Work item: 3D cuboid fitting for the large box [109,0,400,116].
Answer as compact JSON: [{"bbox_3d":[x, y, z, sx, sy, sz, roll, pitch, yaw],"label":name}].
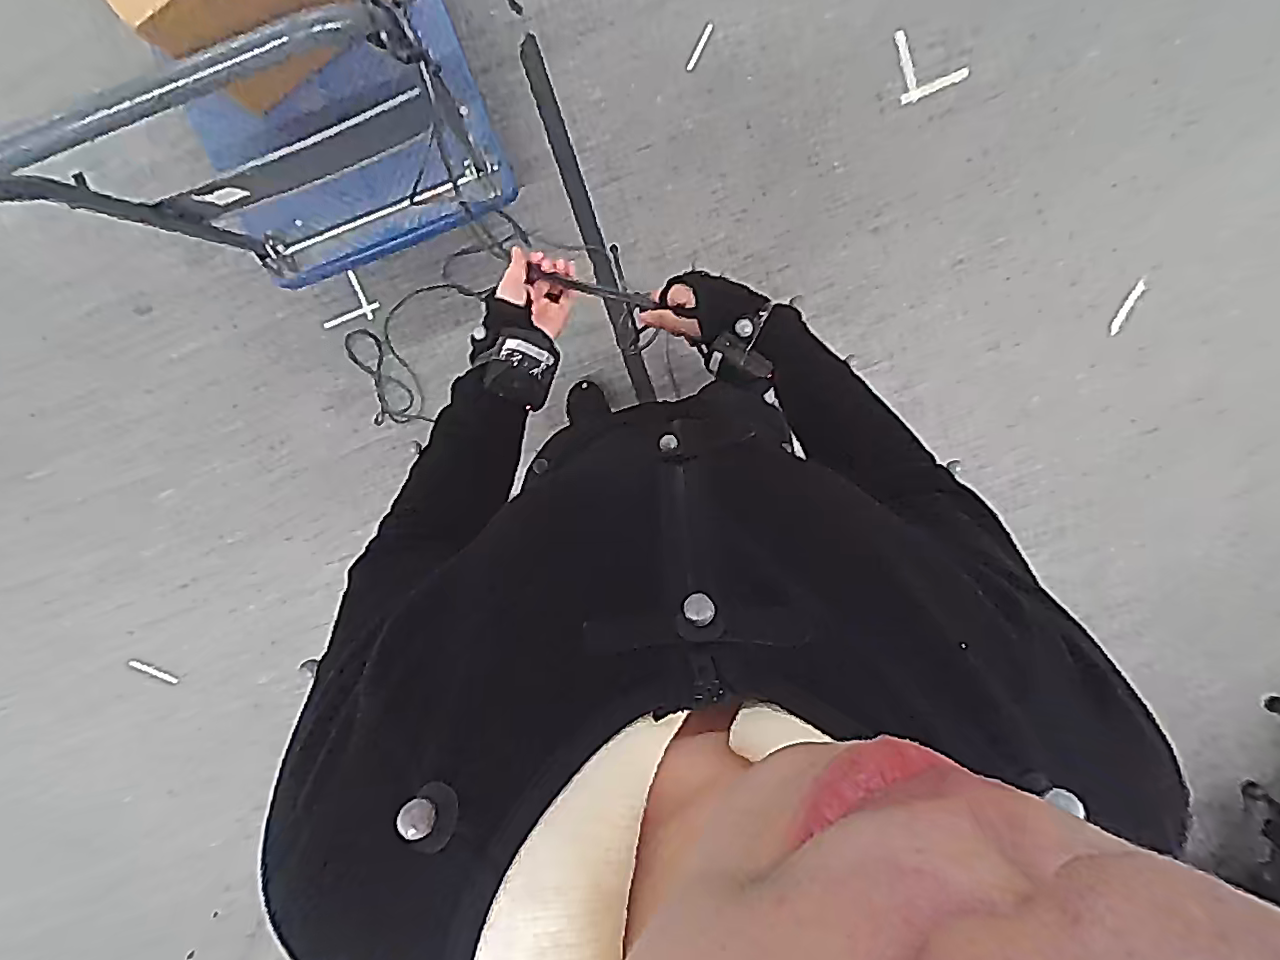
[{"bbox_3d":[-0.708,-0.944,0.924,0.408,0.320,0.320,-35,102,4],"label":"large box"}]
